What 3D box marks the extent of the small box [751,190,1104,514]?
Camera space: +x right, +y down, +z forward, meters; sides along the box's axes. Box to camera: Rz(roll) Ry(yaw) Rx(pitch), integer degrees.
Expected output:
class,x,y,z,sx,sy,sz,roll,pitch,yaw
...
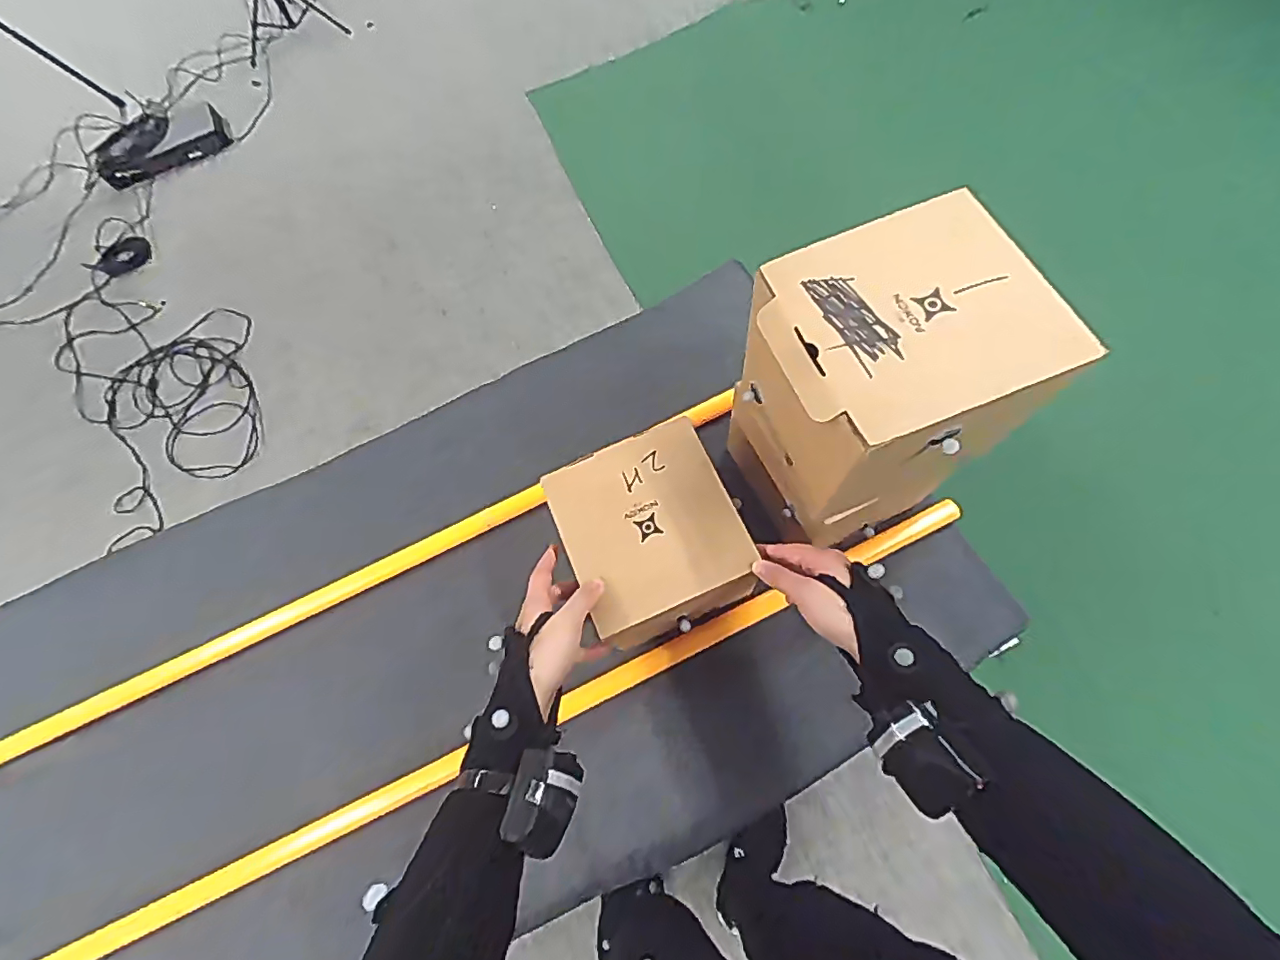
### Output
class,x,y,z,sx,sy,sz,roll,pitch,yaw
small box,0.203,-0.090,0.449,0.179,0.176,0.168,-21,69,-3
